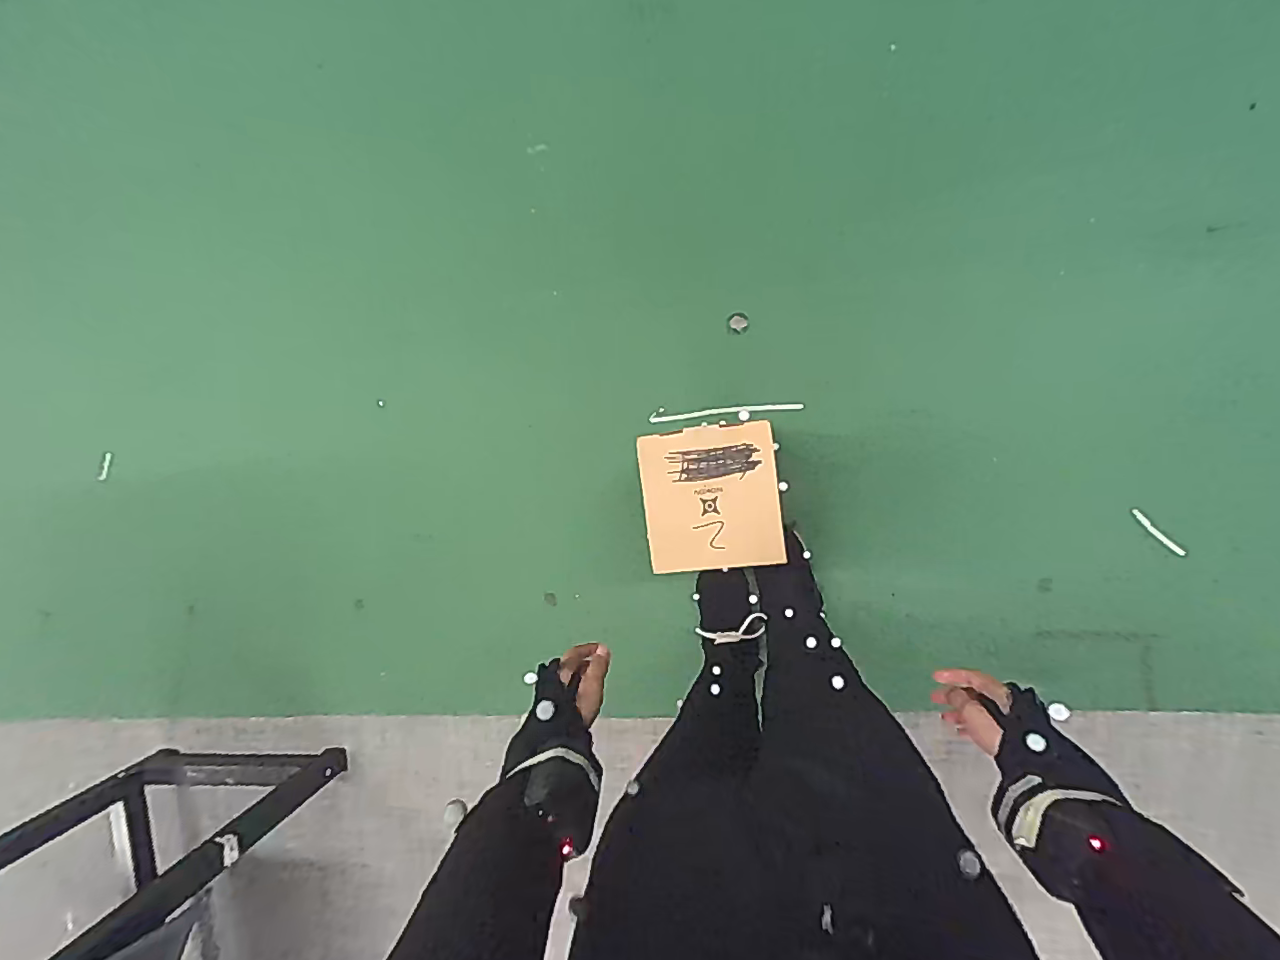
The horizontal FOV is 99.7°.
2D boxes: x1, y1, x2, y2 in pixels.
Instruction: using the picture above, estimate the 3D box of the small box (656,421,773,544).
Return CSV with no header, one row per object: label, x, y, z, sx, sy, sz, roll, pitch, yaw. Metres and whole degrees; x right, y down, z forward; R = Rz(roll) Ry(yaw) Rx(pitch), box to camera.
small box,0.129,-0.001,0.895,0.168,0.176,0.179,-6,93,12
